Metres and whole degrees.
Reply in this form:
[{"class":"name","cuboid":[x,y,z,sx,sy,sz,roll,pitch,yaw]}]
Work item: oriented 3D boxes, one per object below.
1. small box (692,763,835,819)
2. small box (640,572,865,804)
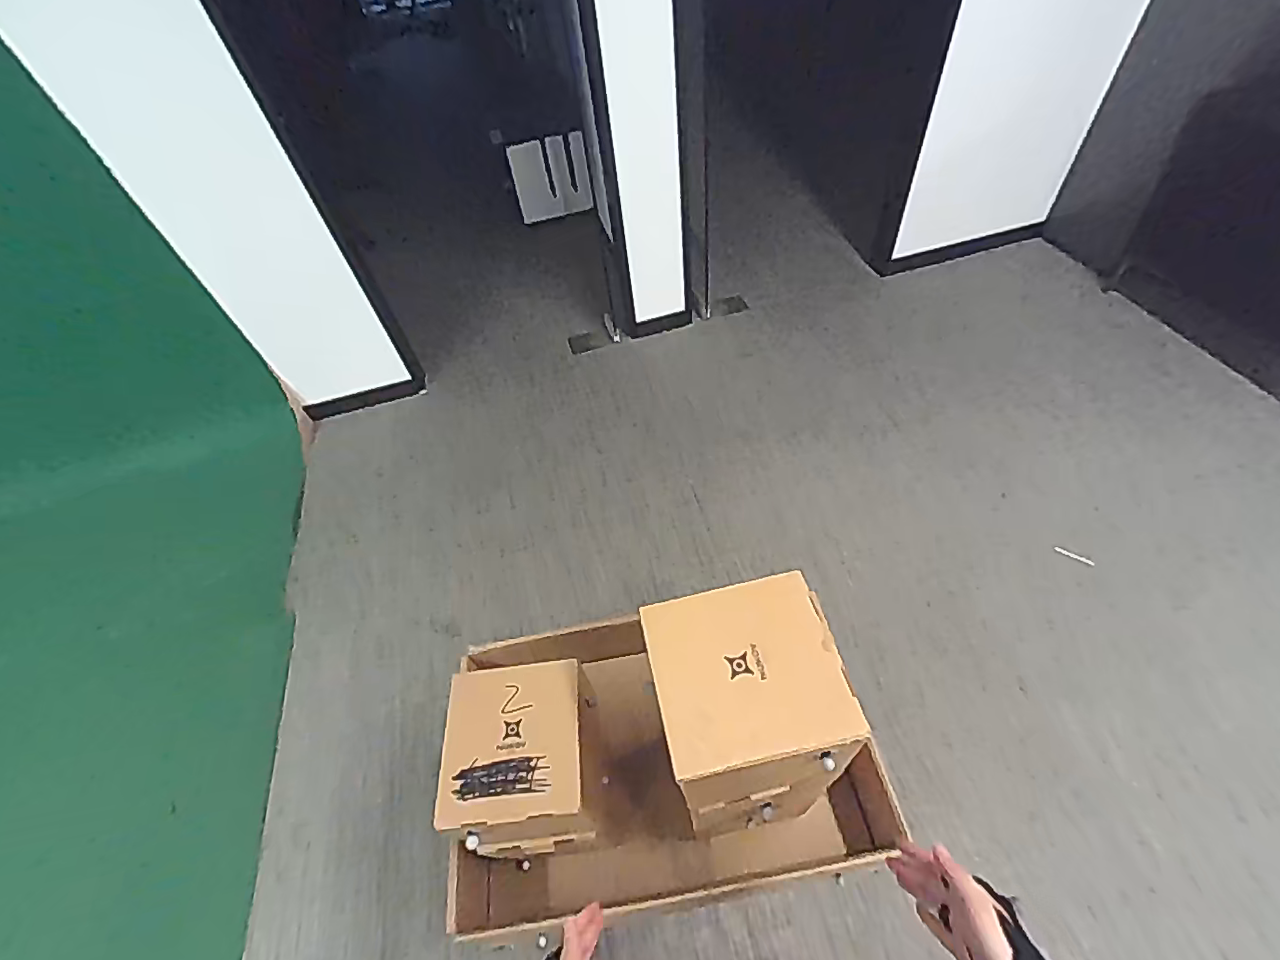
[{"class":"small box","cuboid":[0.130,0.324,0.704,0.168,0.176,0.179,-13,52,-3]},{"class":"small box","cuboid":[0.108,0.225,0.575,0.179,0.176,0.168,-12,51,-2]}]
